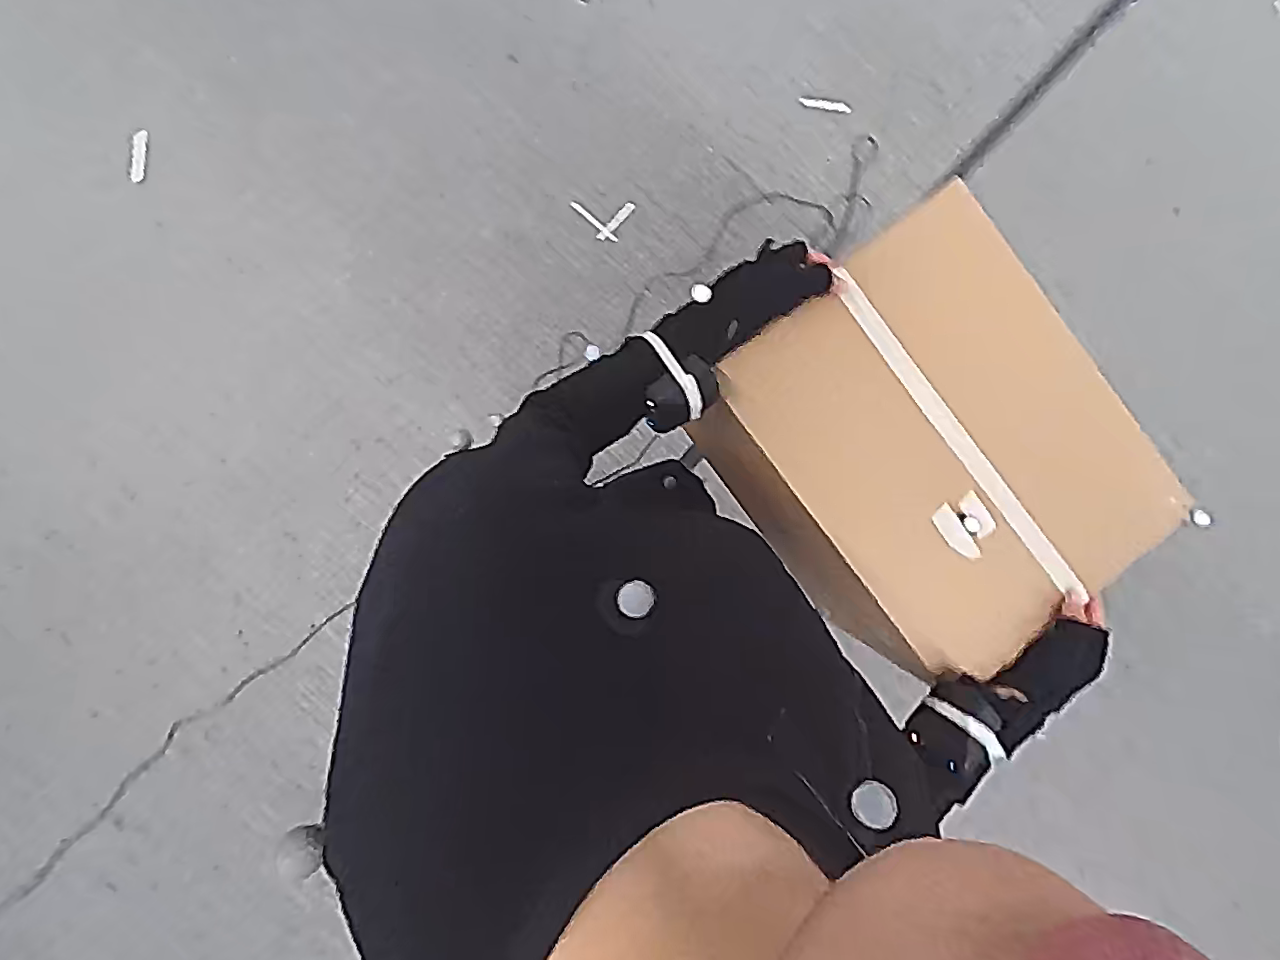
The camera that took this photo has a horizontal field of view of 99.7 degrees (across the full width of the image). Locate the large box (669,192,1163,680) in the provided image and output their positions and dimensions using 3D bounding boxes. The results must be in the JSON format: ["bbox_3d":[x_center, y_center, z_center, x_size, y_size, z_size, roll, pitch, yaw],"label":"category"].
[{"bbox_3d":[0.290,-0.046,0.688,0.320,0.320,0.408,-38,93,-2],"label":"large box"}]
